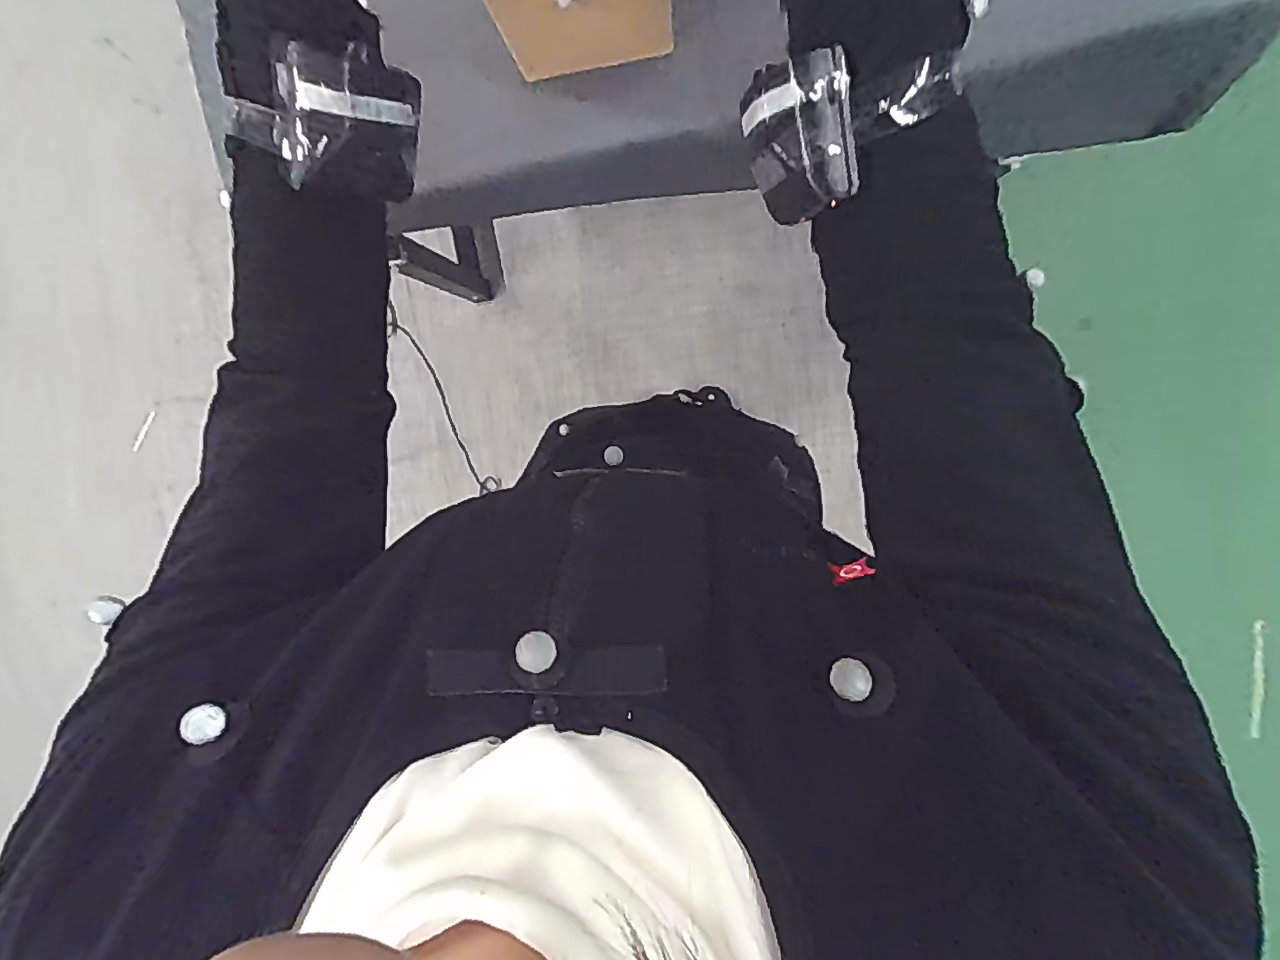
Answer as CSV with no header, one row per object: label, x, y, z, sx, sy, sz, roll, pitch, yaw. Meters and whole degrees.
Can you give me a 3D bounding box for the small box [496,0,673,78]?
small box,-0.064,-0.554,0.555,0.179,0.176,0.168,-6,99,7
